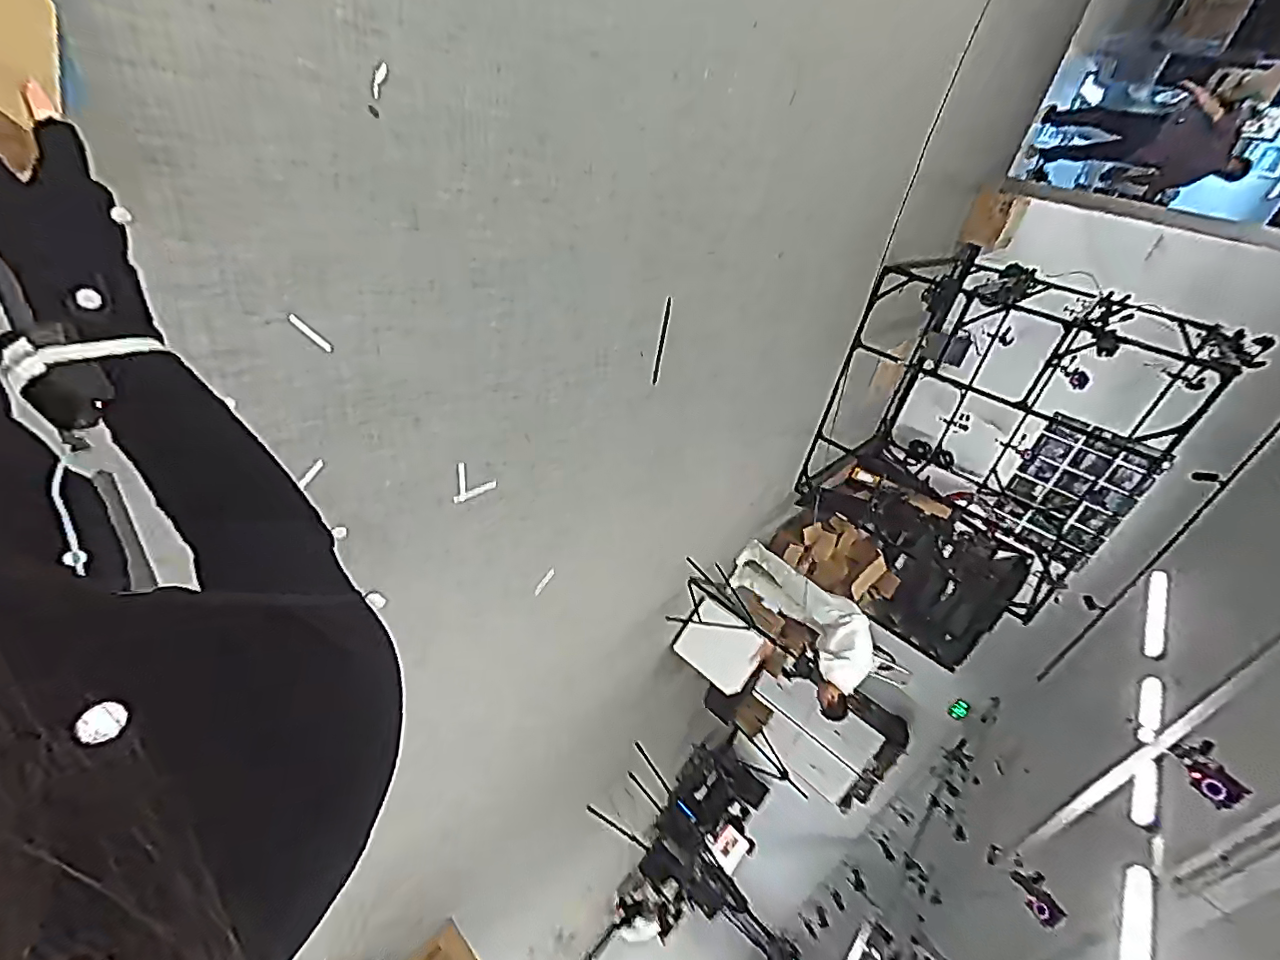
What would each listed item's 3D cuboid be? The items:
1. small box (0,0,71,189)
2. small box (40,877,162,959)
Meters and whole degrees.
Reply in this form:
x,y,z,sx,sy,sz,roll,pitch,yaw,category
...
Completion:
x,y,z,sx,sy,sz,roll,pitch,yaw,category
-0.519,-0.297,0.327,0.168,0.176,0.179,-18,166,-2,small box
-1.377,1.180,1.380,0.179,0.176,0.168,-26,139,-43,small box
